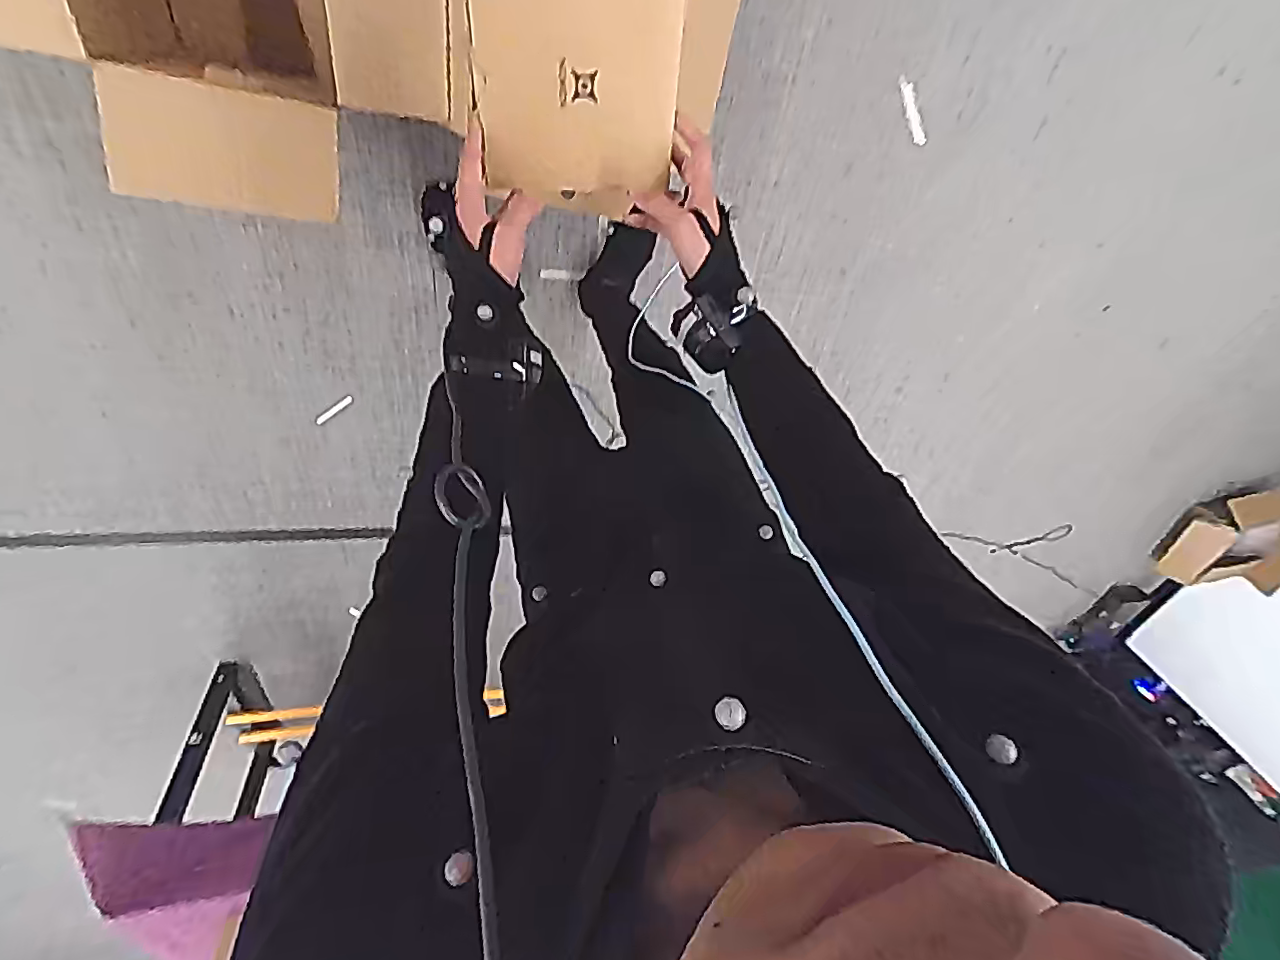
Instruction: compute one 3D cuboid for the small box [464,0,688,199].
[{"bbox_3d":[-0.065,-0.383,0.517,0.179,0.176,0.168,-4,134,-9],"label":"small box"}]
